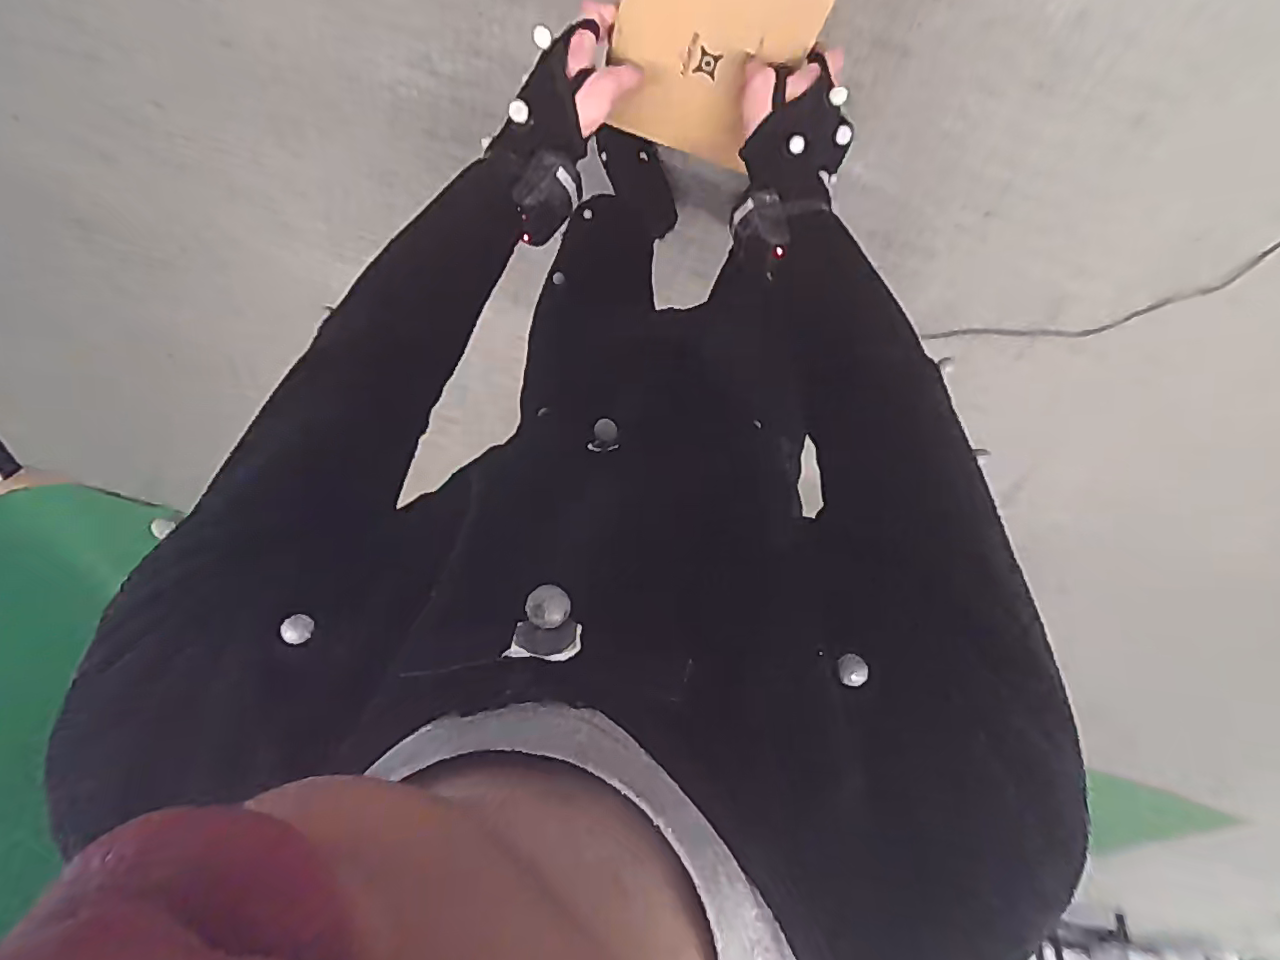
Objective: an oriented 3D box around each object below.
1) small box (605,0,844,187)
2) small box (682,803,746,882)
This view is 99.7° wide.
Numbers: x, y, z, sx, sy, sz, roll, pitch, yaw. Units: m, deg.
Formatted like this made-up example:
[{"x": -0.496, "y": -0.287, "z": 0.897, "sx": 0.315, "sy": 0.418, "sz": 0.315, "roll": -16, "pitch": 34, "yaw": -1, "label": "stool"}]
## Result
[{"x": 0.072, "y": -0.443, "z": 0.545, "sx": 0.179, "sy": 0.176, "sz": 0.168, "roll": 9, "pitch": 151, "yaw": -14, "label": "small box"}, {"x": 0.252, "y": 1.219, "z": 1.816, "sx": 0.168, "sy": 0.176, "sz": 0.179, "roll": 16, "pitch": 133, "yaw": -3, "label": "small box"}]
